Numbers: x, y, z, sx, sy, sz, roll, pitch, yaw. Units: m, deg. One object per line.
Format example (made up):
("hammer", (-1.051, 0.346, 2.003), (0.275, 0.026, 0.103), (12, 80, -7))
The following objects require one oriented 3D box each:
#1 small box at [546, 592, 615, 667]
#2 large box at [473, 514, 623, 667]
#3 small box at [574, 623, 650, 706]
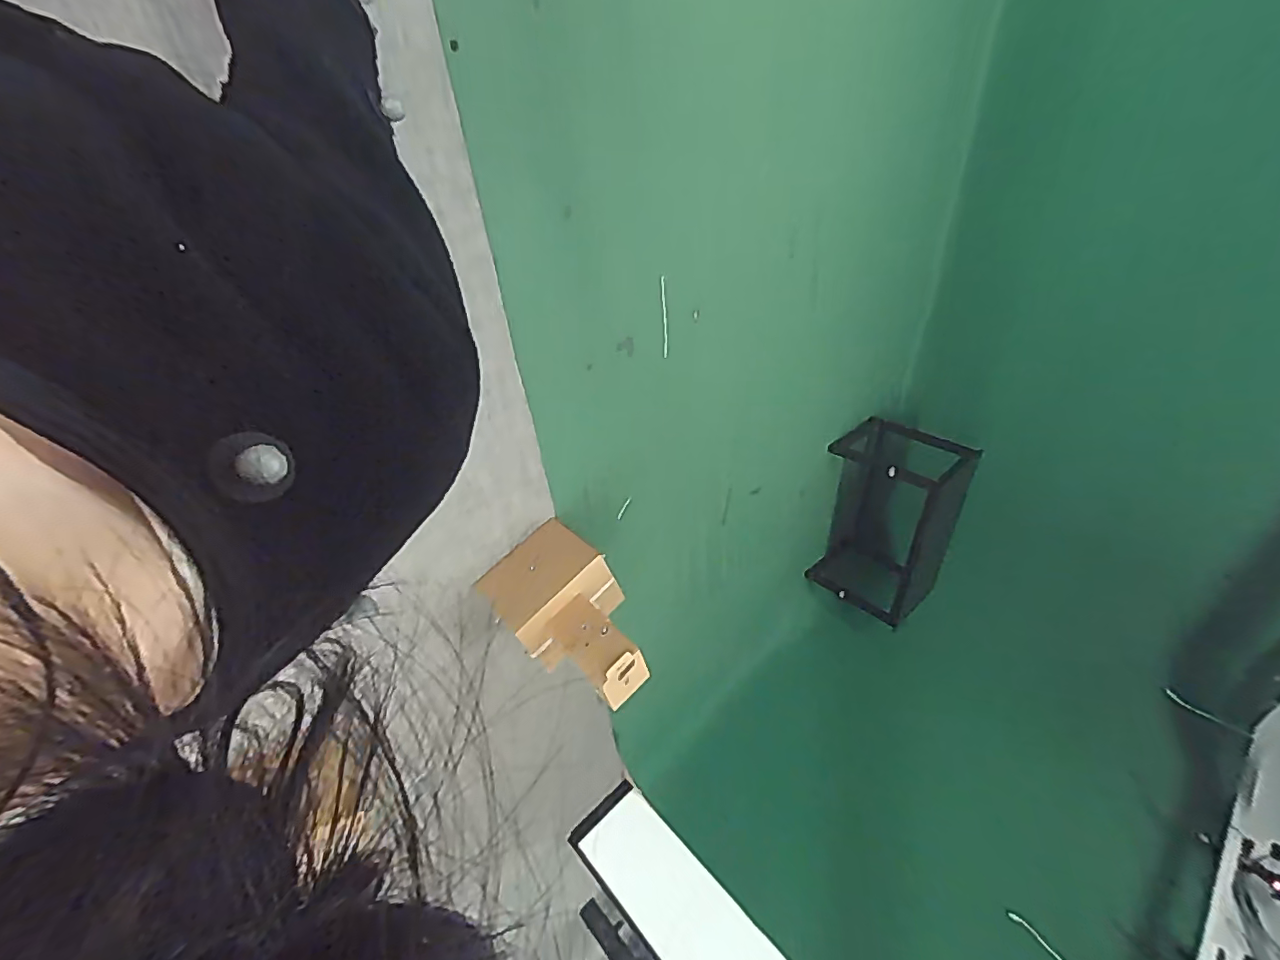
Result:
("small box", (-0.197, 0.526, 1.888), (0.179, 0.176, 0.168), (-39, 135, -22))
("large box", (-0.342, 0.411, 2.052), (0.408, 0.320, 0.320), (-43, 139, -21))
("small box", (-0.095, 0.599, 1.783), (0.168, 0.176, 0.179), (-38, 135, -24))
